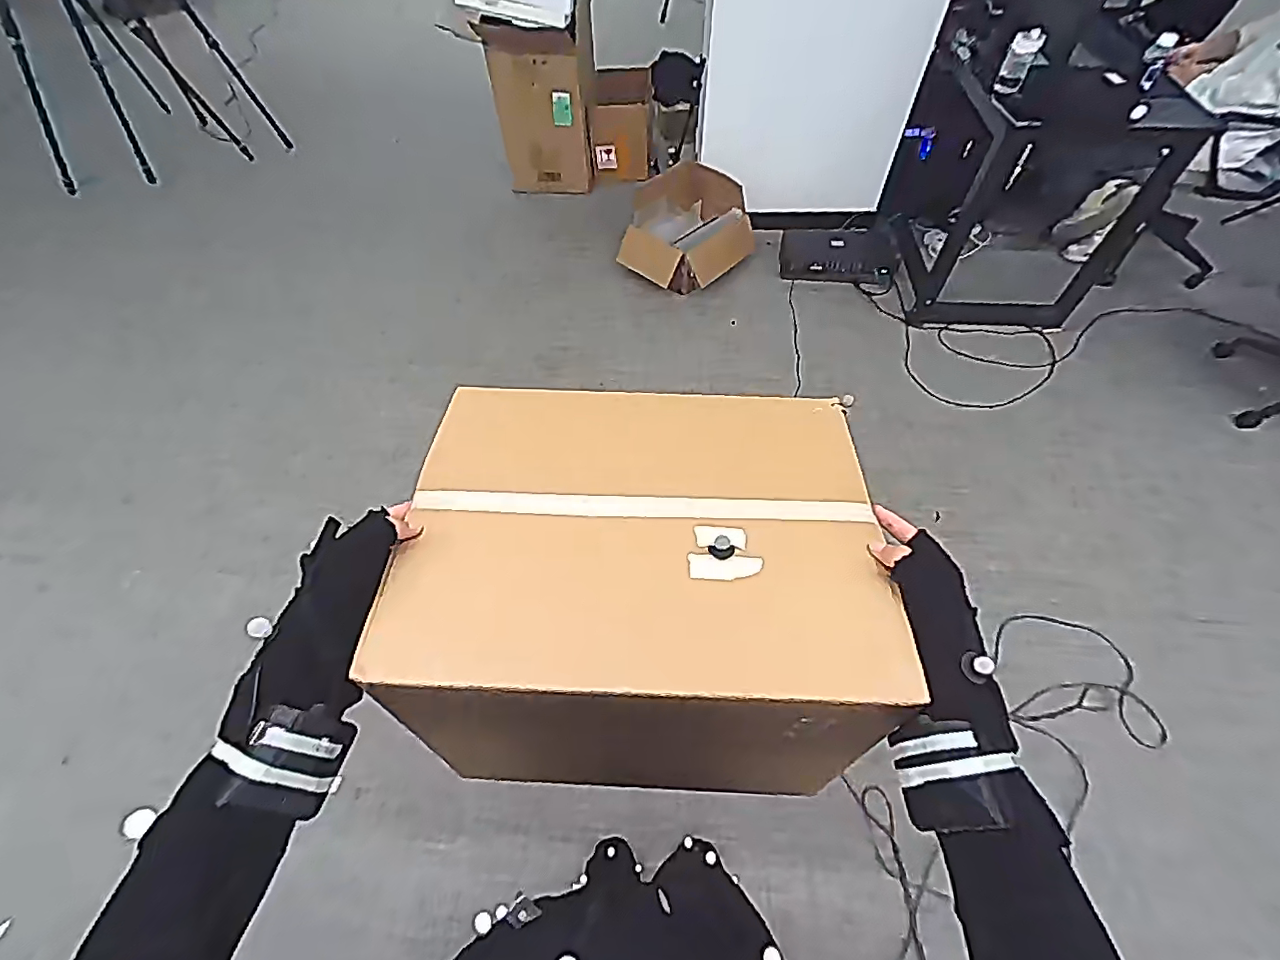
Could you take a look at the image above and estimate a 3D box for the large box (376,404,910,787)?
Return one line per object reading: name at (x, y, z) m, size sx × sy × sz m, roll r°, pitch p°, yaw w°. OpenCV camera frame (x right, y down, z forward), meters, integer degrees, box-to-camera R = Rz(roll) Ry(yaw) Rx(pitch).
large box at (0.002, 0.134, 0.604) m, size 0.408 × 0.320 × 0.320 m, roll 2°, pitch 50°, yaw 1°
